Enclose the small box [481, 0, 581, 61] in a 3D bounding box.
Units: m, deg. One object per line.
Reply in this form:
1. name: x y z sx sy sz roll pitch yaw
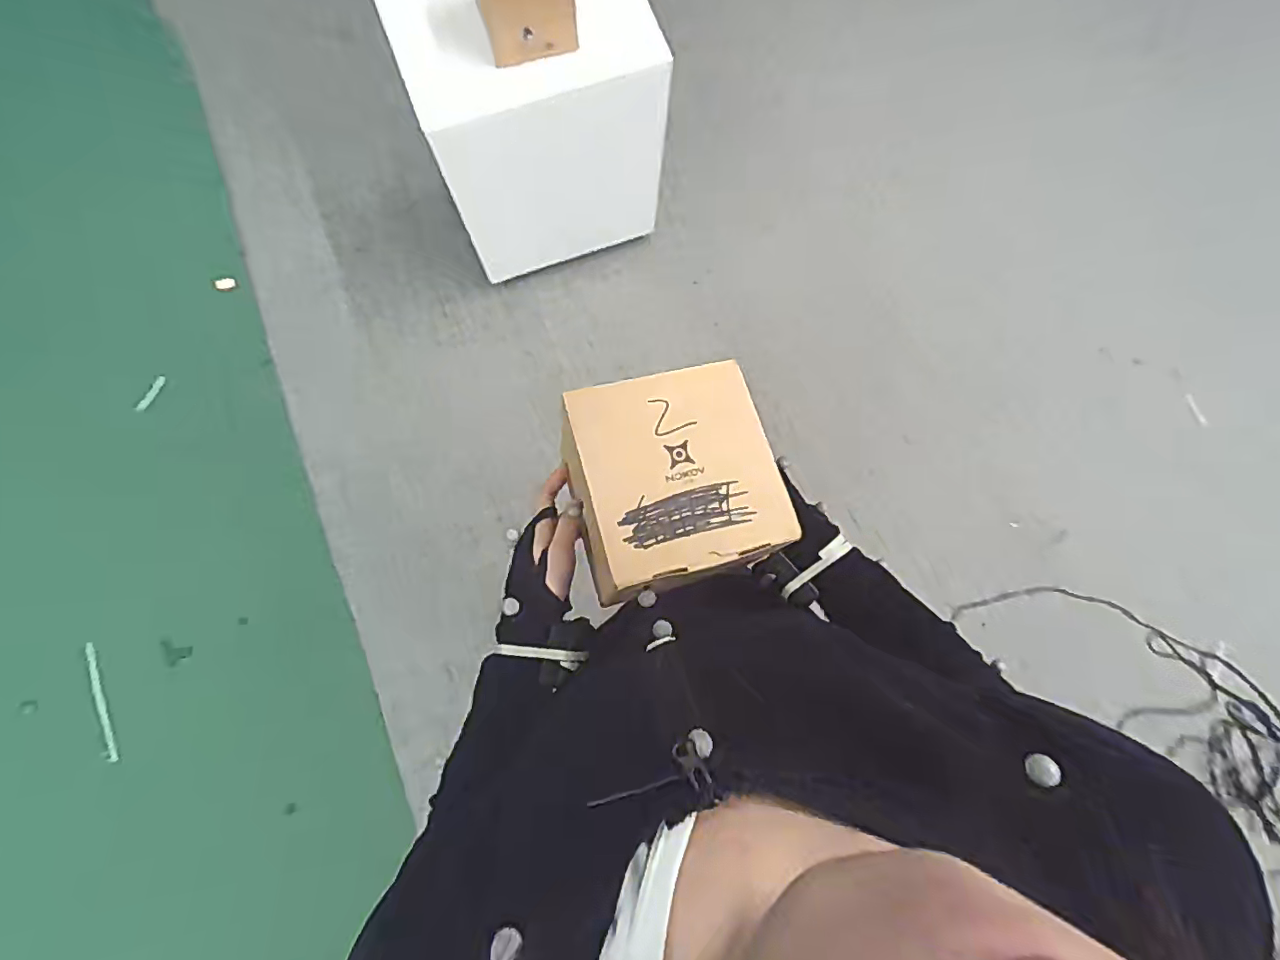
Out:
1. small box: -0.210 -0.913 0.972 0.168 0.176 0.179 -18 82 -5
